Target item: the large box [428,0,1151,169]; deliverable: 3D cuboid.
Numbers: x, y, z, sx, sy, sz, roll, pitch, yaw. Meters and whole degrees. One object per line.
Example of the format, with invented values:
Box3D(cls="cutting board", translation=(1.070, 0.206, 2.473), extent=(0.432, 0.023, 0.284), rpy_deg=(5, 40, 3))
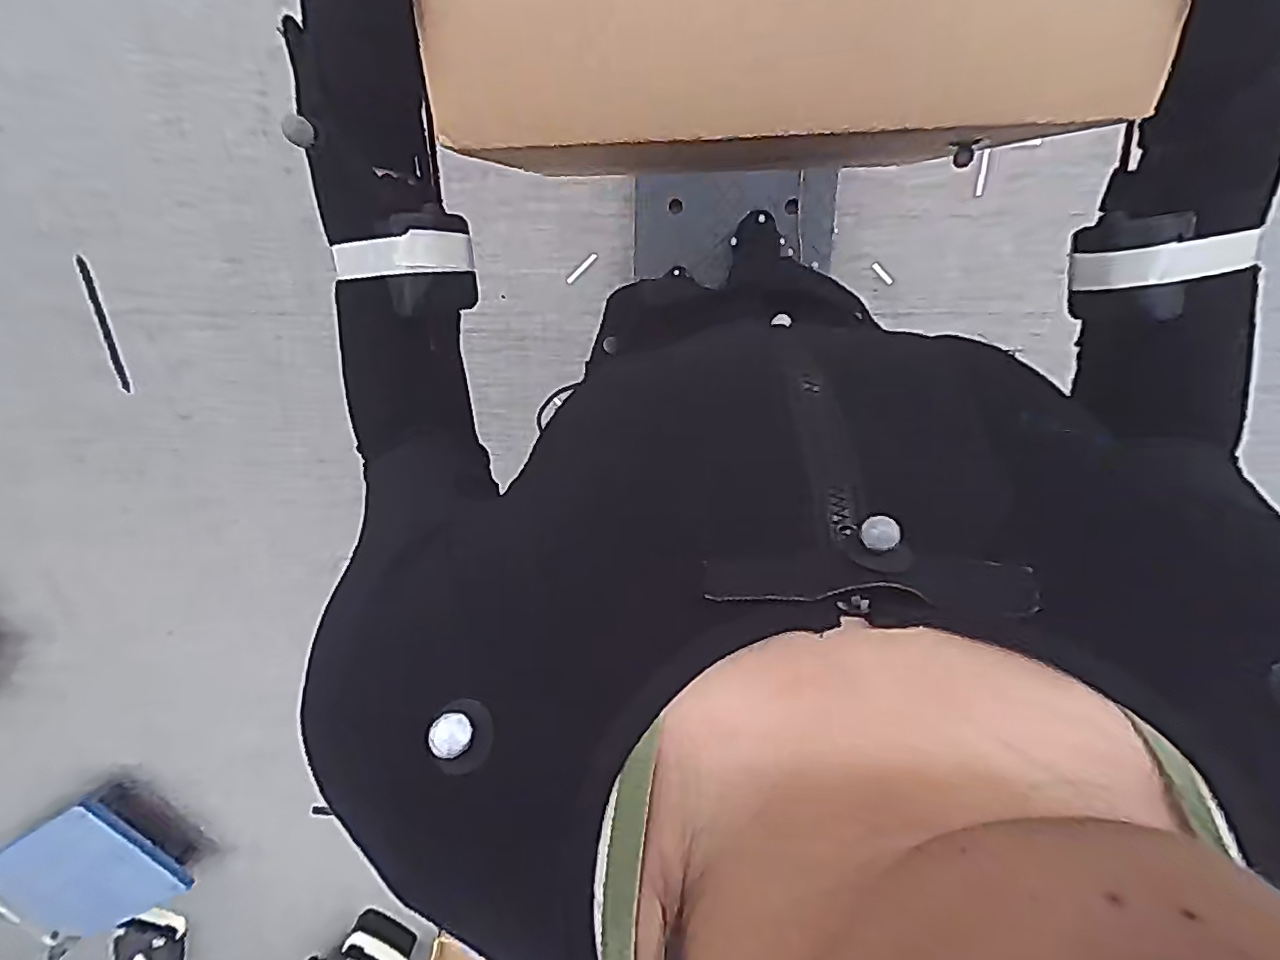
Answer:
Box3D(cls="large box", translation=(0.082, -0.415, 0.388), extent=(0.408, 0.320, 0.320), rpy_deg=(-1, 116, 3))
